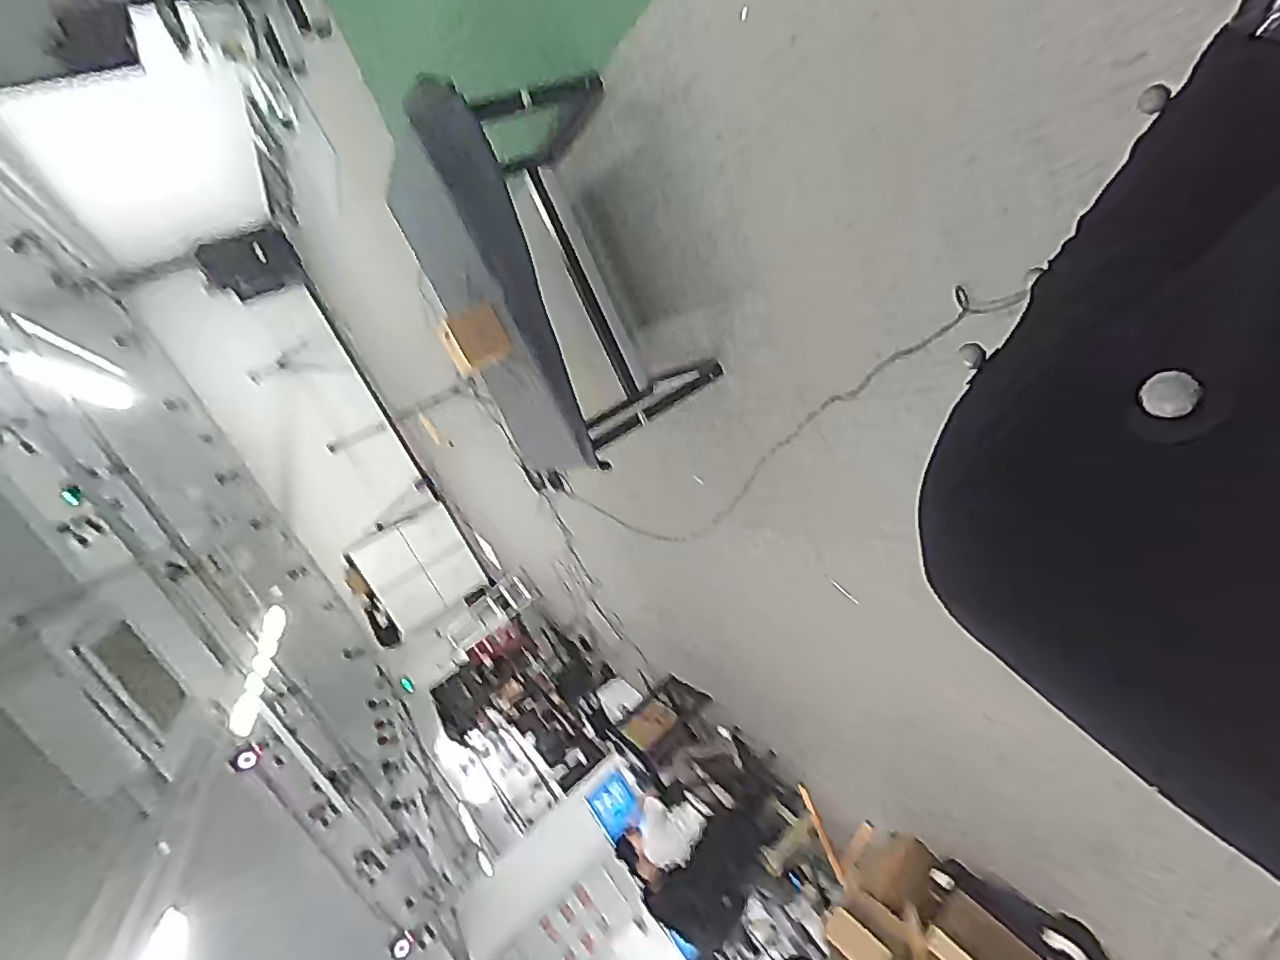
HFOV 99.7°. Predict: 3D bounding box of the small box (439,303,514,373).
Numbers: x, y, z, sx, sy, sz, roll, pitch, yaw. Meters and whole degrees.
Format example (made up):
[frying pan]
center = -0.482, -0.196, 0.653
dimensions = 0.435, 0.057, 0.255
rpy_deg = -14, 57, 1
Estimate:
[small box]
center = -0.569, -0.497, 1.880
dimensions = 0.168, 0.176, 0.179
rpy_deg = -3, 118, 61
